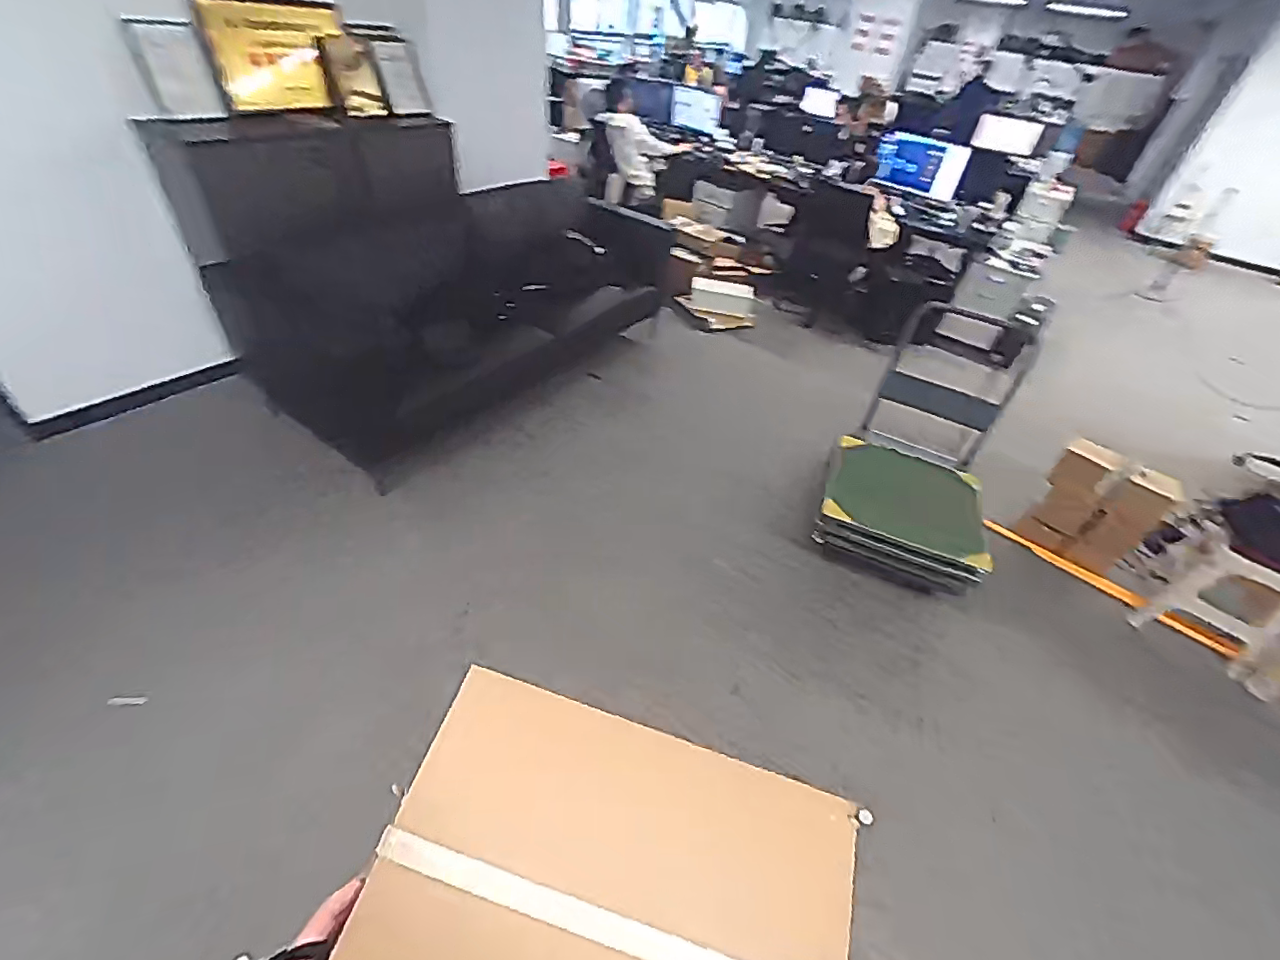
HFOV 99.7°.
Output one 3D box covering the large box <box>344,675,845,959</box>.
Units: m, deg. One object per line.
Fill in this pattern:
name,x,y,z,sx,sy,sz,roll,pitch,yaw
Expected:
large box,-0.046,0.456,0.584,0.408,0.320,0.320,18,56,3
